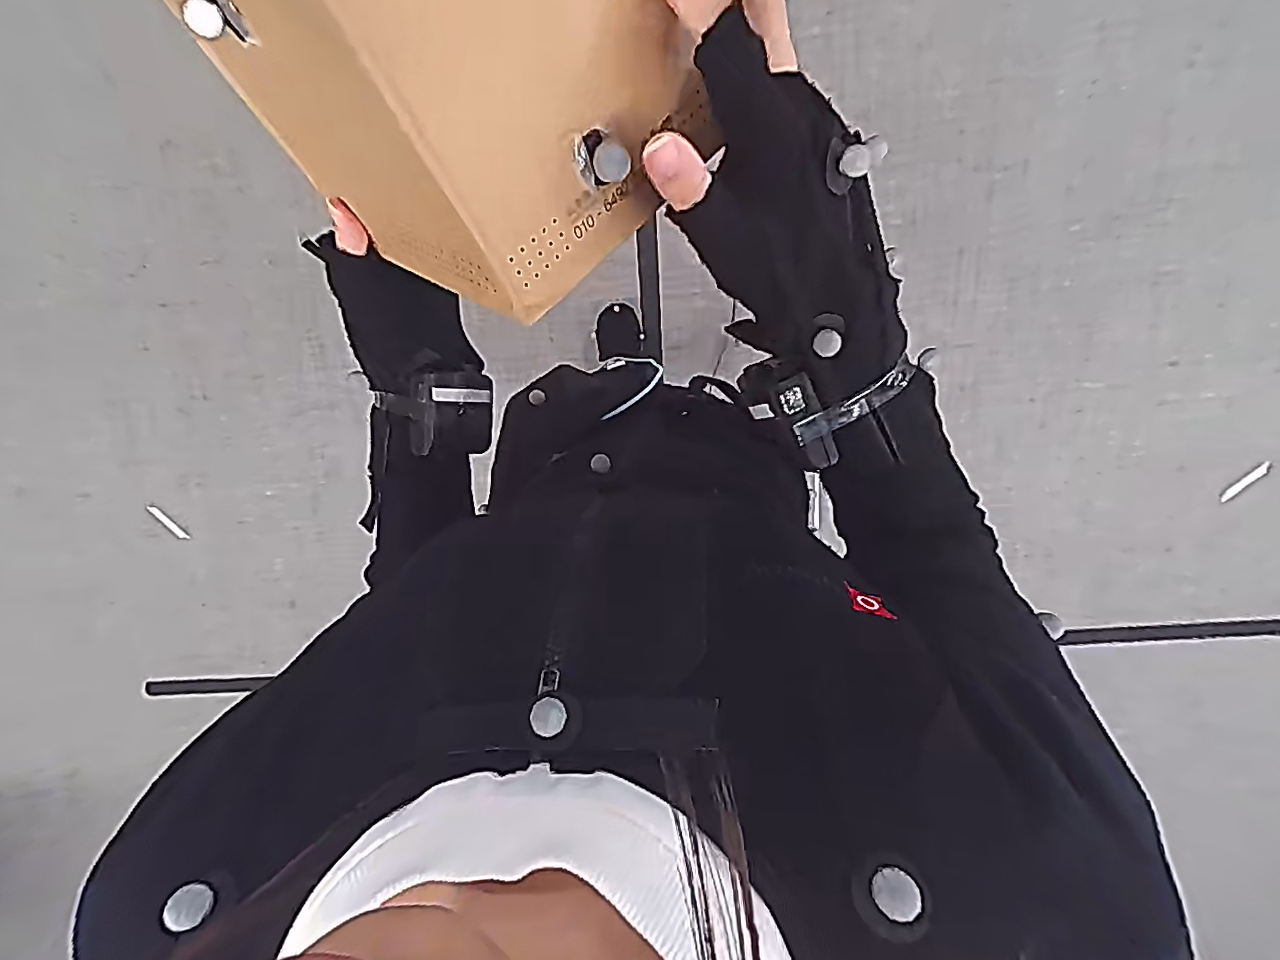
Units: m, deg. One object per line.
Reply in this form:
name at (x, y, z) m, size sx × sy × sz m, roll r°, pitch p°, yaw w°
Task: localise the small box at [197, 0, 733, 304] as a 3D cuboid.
small box at (-0.081, -0.213, 0.258) m, size 0.179 × 0.176 × 0.168 m, roll 33°, pitch 76°, yaw 34°
